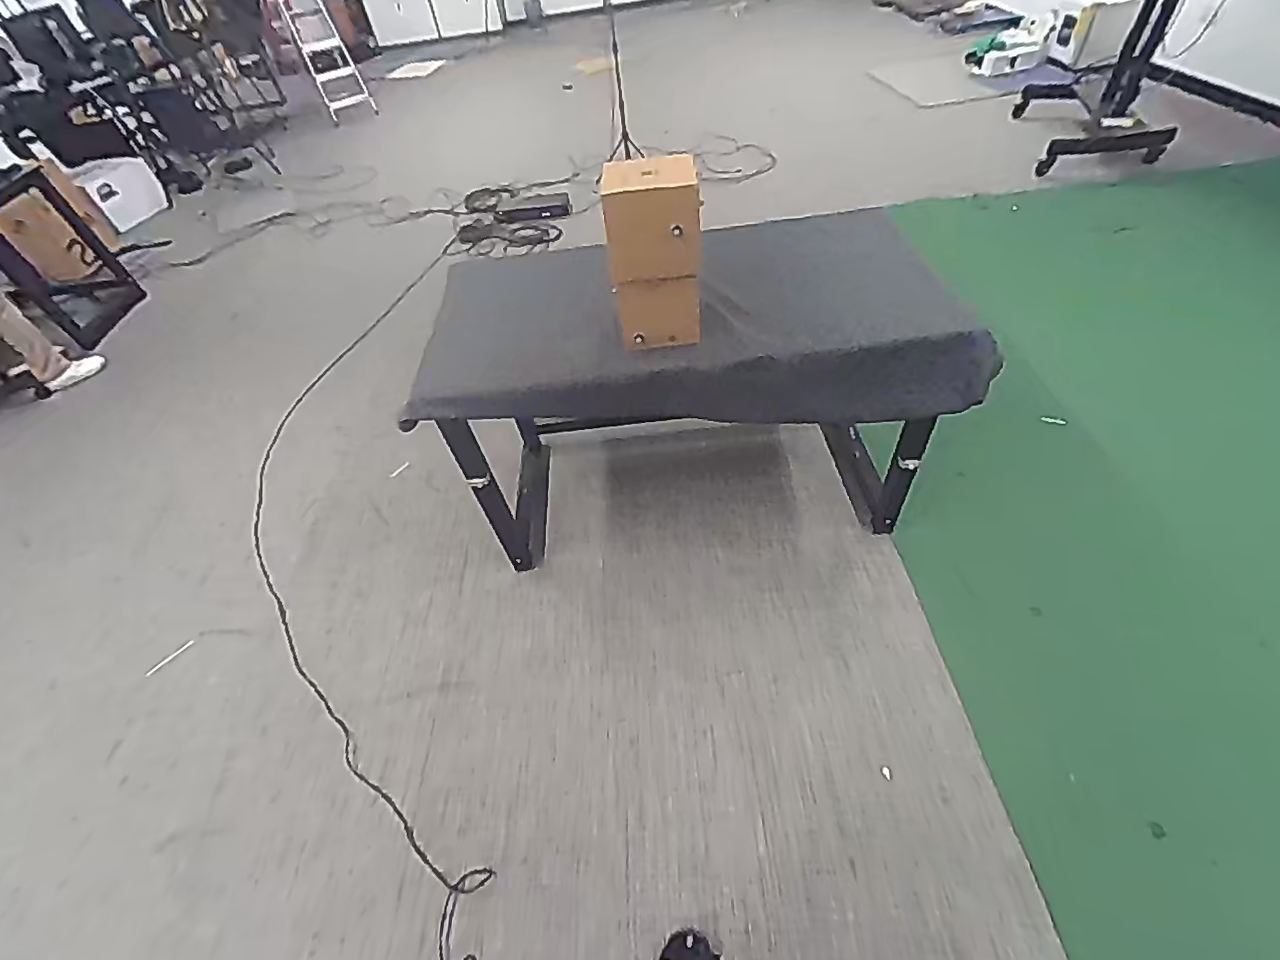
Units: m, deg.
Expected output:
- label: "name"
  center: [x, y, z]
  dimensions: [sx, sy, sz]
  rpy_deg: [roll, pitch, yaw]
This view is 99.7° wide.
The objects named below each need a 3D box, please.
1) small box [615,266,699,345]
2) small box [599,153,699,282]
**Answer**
- label: "small box"
  center: [0.035, -0.413, 1.185]
  dimensions: [0.168, 0.176, 0.179]
  rpy_deg: [-9, 50, 2]
- label: "small box"
  center: [0.024, -0.508, 1.053]
  dimensions: [0.179, 0.176, 0.168]
  rpy_deg: [-5, 47, 5]
